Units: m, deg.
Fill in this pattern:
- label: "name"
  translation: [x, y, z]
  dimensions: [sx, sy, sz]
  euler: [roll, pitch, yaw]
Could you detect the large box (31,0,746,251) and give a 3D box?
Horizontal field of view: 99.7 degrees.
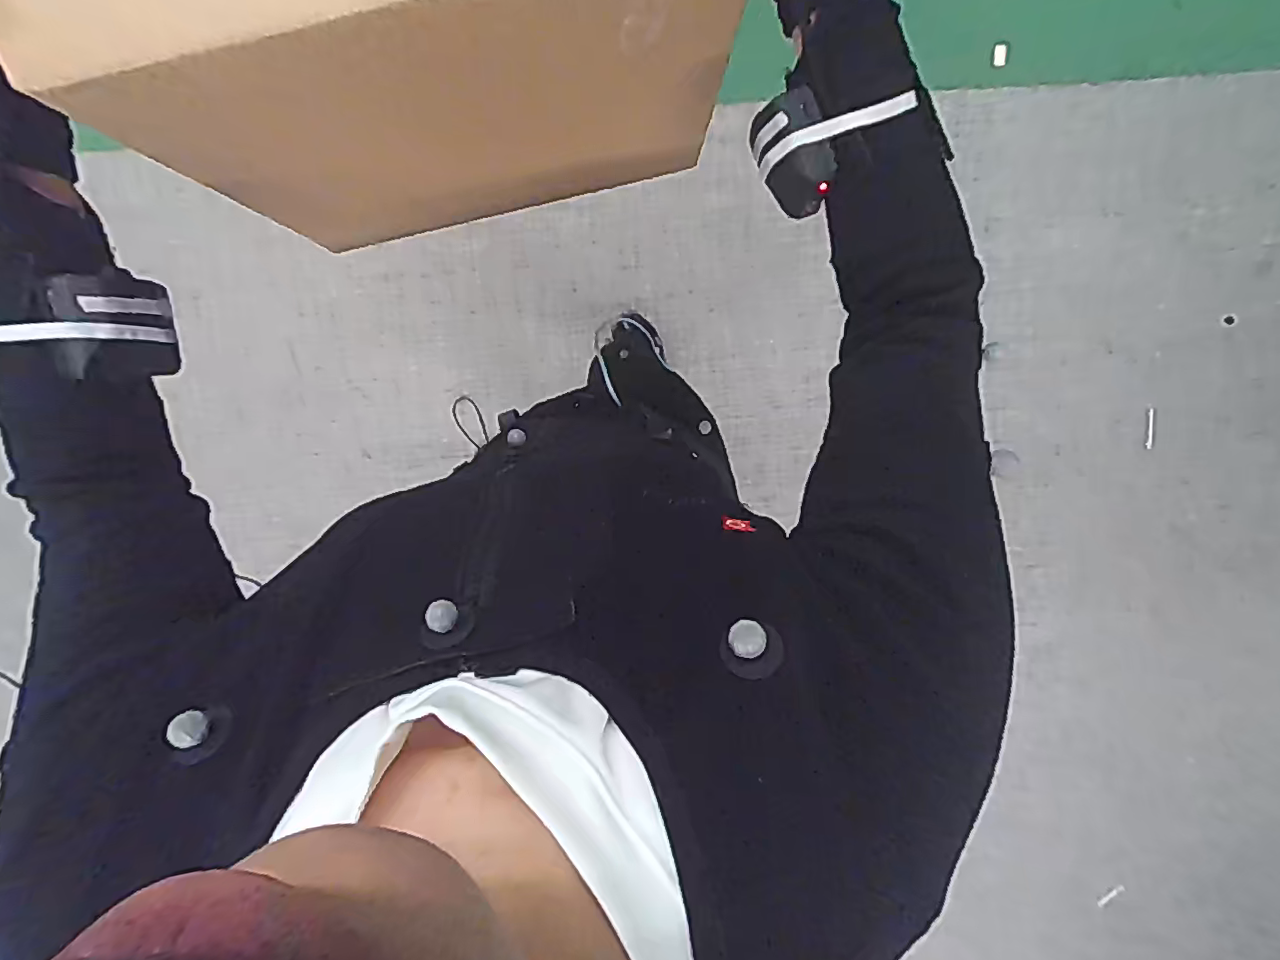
- label: "large box"
  translation: [-0.160, -0.420, 0.418]
  dimensions: [0.408, 0.320, 0.320]
  euler: [-14, 99, -1]
